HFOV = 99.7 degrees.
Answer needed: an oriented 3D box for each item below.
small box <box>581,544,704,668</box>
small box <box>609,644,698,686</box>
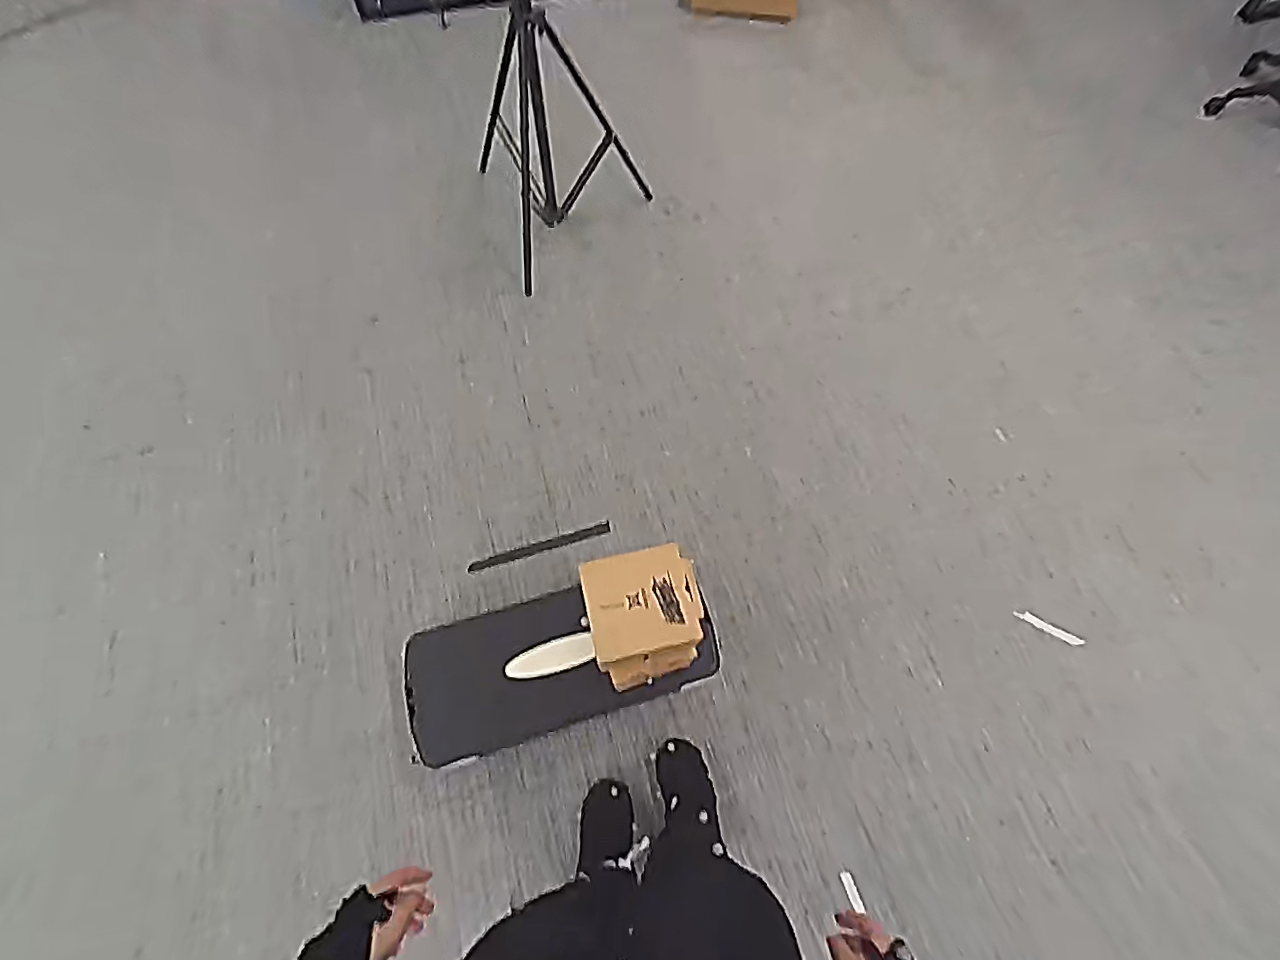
[{"bbox_3d":[-0.002,0.228,0.957,0.179,0.176,0.168,-12,67,-6],"label":"small box"},{"bbox_3d":[0.002,0.306,1.103,0.168,0.176,0.179,-17,68,-9],"label":"small box"}]
